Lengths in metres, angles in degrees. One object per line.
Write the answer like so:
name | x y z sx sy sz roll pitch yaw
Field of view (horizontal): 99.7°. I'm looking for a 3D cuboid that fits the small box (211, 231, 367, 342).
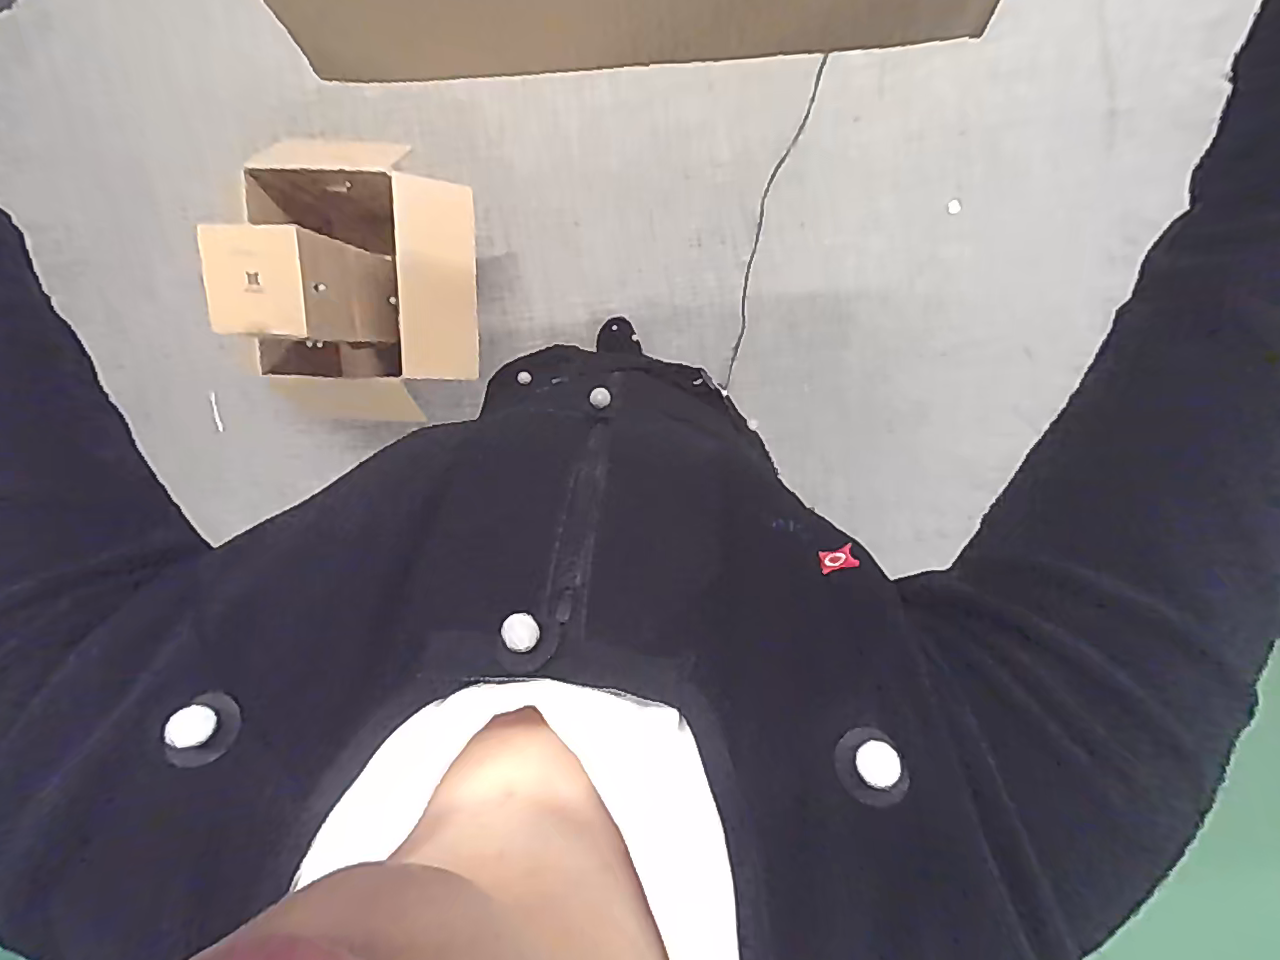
small box | -0.621 -0.342 0.983 0.168 0.176 0.179 0 102 1
